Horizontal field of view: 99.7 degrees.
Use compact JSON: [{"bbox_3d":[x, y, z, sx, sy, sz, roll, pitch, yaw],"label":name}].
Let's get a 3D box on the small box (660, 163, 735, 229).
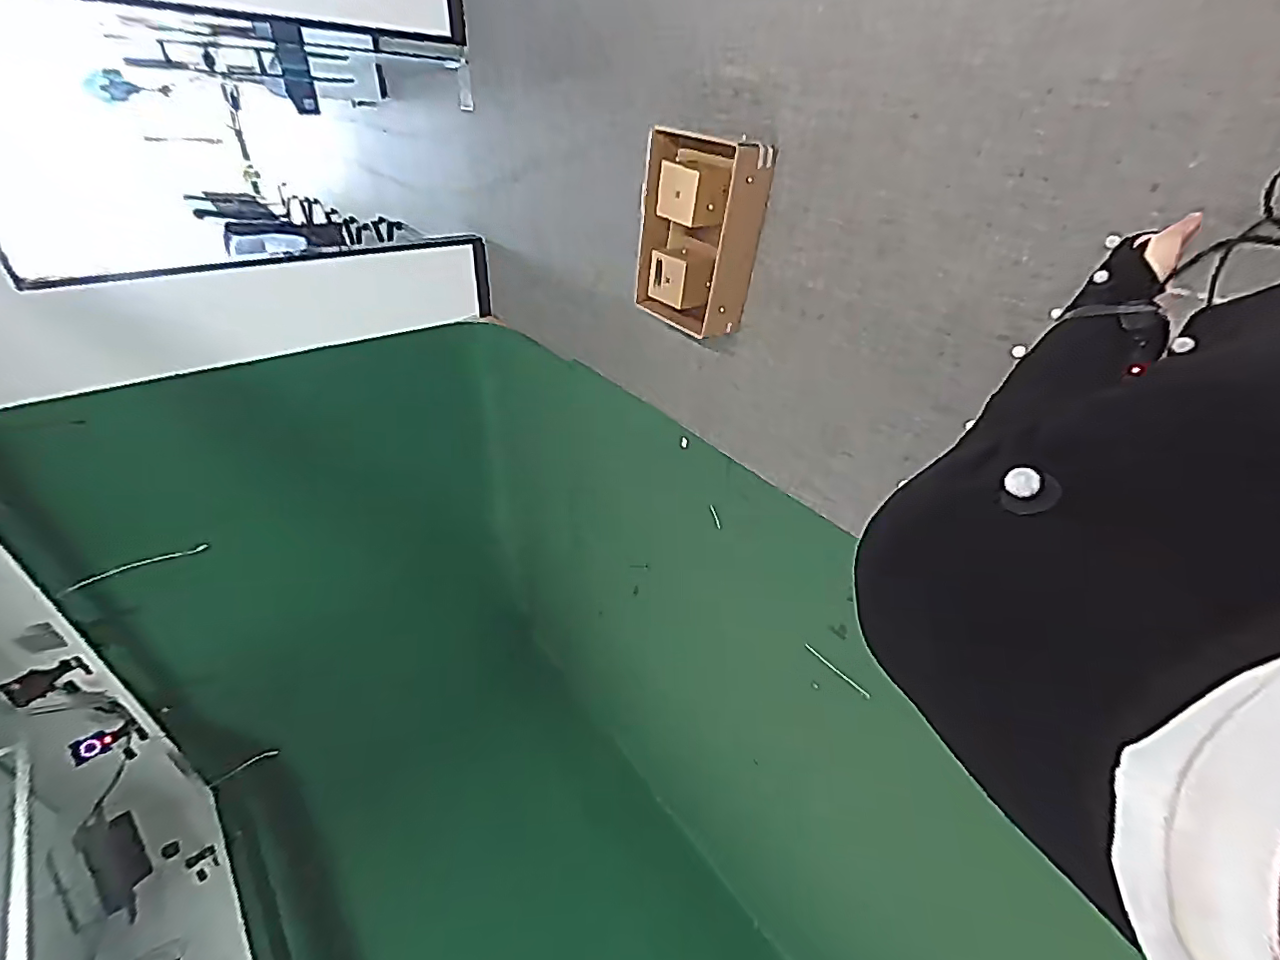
[{"bbox_3d":[0.195,-0.971,1.835,0.179,0.176,0.168,39,138,34],"label":"small box"}]
